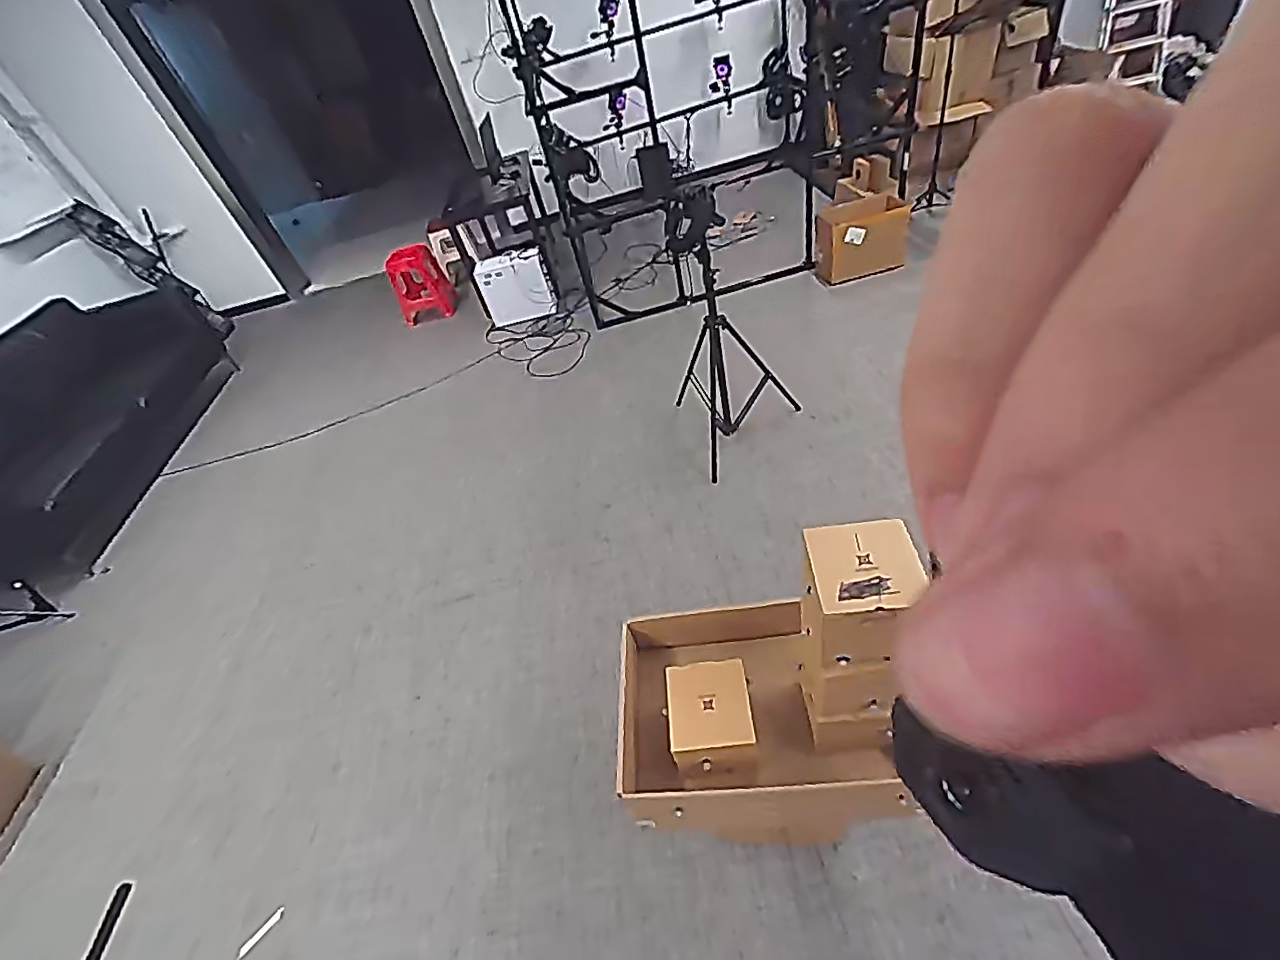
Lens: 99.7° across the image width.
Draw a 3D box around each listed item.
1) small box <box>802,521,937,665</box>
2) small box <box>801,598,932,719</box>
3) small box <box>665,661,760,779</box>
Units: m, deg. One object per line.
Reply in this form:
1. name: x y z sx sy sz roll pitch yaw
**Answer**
1. small box: 0.371 0.194 0.902 0.168 0.176 0.179 -7 42 10
2. small box: 0.406 0.322 1.002 0.179 0.176 0.168 -10 42 6
3. small box: 0.152 0.508 1.133 0.168 0.176 0.179 -10 42 7
